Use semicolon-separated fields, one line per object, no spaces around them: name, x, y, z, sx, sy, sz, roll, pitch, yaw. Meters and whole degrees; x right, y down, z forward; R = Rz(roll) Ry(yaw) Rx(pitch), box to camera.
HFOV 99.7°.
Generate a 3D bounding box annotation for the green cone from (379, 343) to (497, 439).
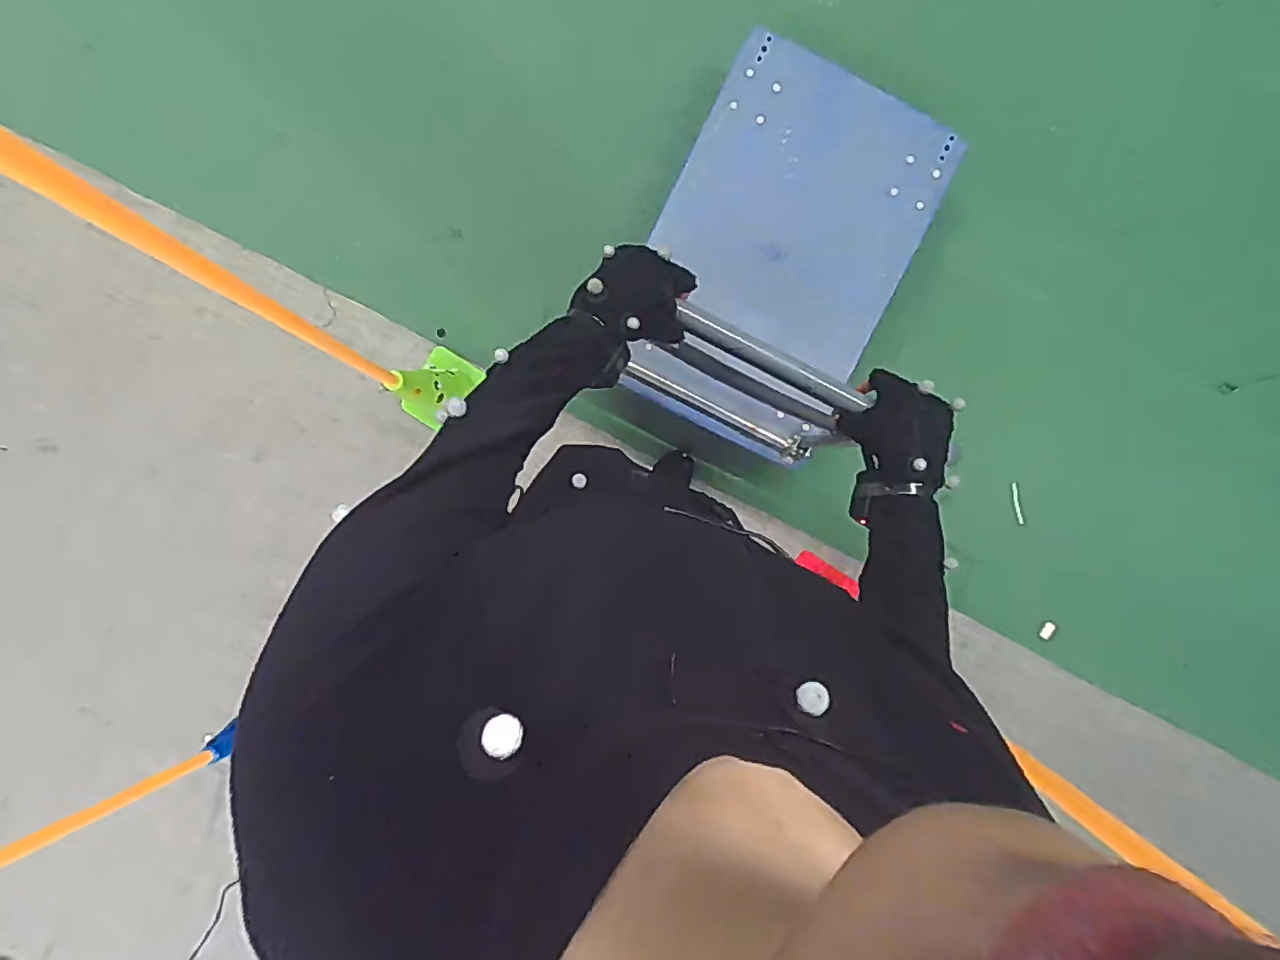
green cone;-0.506;-0.229;1.273;0.202;0.368;0.200;32;92;-2
